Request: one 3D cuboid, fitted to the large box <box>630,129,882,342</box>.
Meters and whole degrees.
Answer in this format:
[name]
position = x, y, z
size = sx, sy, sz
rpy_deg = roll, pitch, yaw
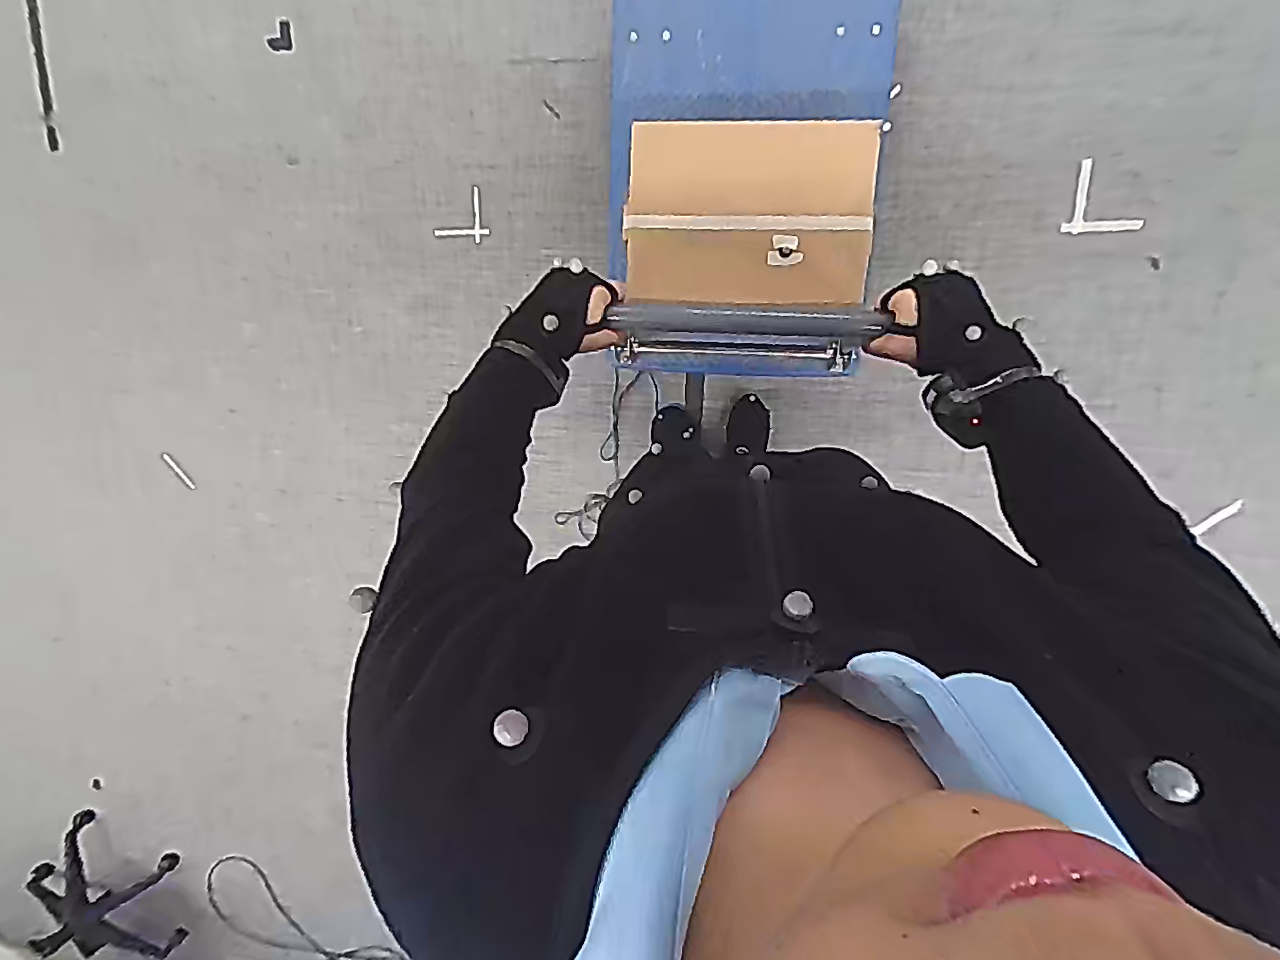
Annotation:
[large box]
position = 0.195, -0.440, 1.044
size = 0.408, 0.320, 0.320
rpy_deg = 3, 101, 5
